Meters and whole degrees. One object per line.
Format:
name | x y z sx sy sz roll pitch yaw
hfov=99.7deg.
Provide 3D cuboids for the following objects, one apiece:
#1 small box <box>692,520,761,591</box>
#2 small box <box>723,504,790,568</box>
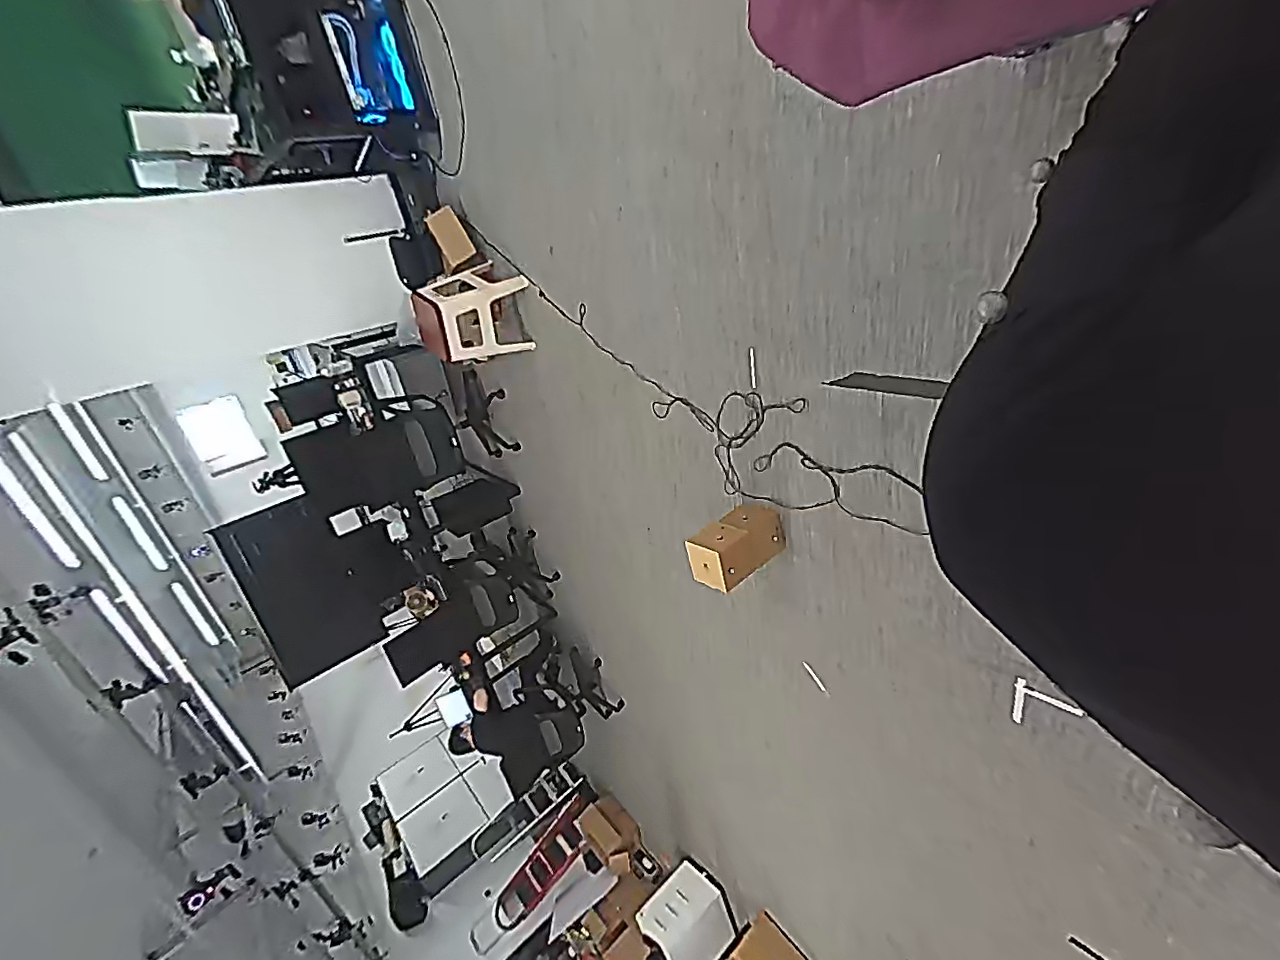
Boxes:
small box | 0.320 0.268 1.974 0.168 0.176 0.179 15 127 50
small box | 0.443 0.204 2.058 0.179 0.176 0.168 12 125 51
